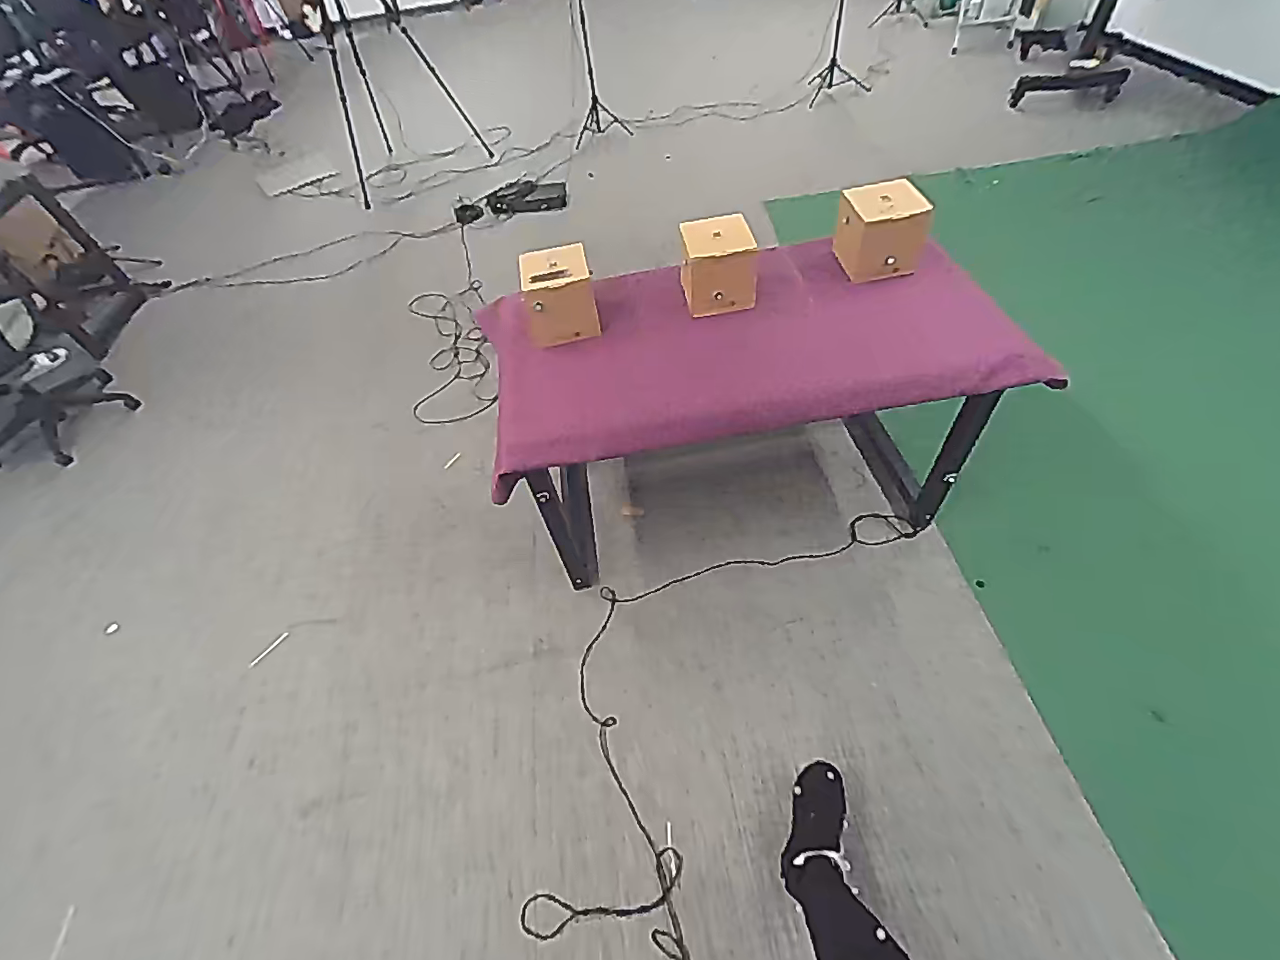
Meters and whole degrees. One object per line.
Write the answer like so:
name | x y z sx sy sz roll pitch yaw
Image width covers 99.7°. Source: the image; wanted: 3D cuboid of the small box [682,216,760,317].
small box | 0.200 -0.547 1.388 0.168 0.176 0.179 -9 53 0

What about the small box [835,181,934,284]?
small box | 0.620 -0.637 1.397 0.168 0.176 0.179 -10 52 3
